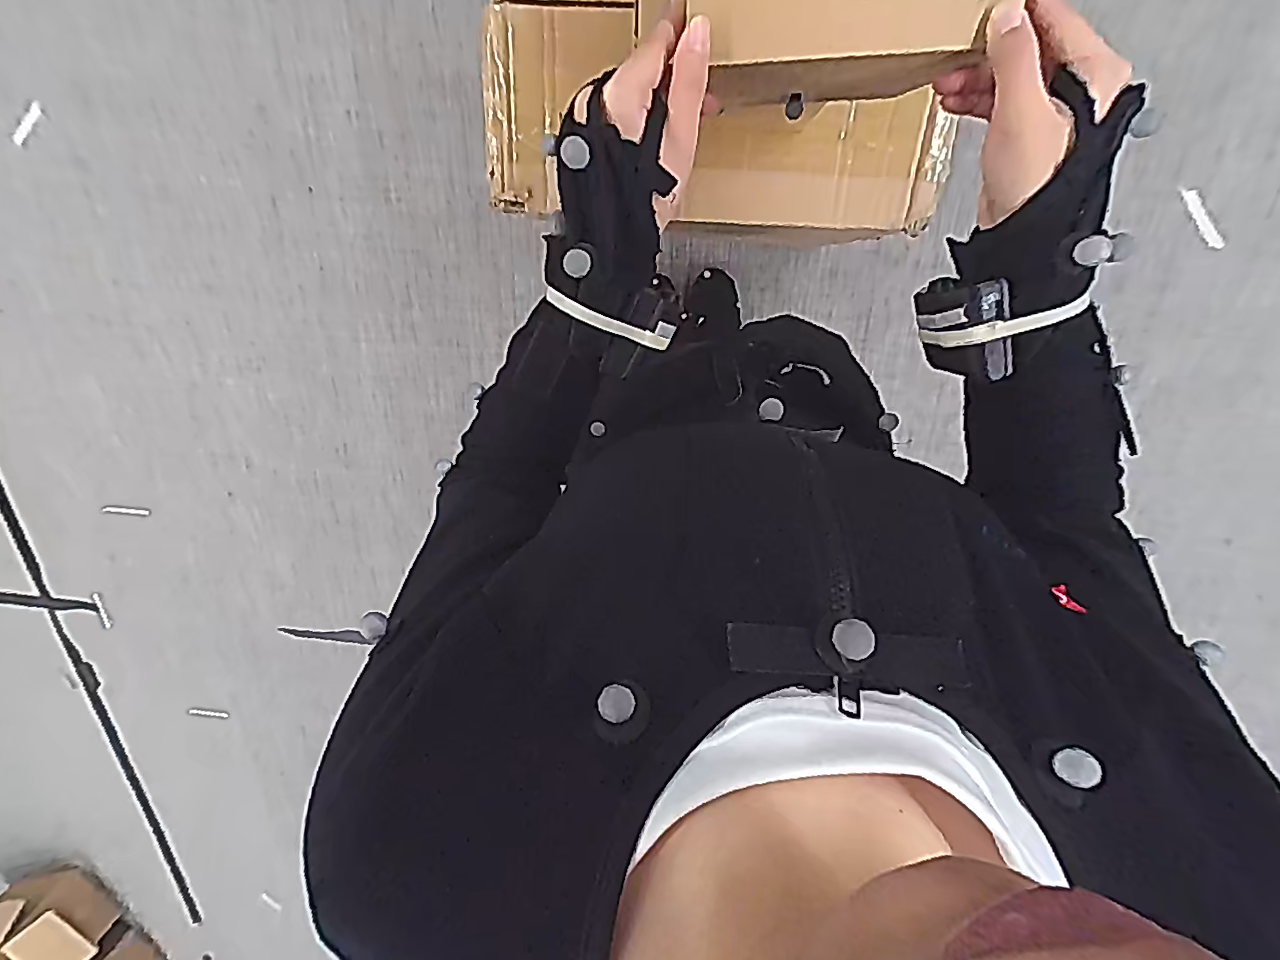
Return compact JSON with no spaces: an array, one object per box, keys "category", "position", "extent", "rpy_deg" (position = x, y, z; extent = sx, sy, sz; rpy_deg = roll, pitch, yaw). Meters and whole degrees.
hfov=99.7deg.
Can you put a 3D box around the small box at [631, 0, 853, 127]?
[{"category":"small box","position":[0.092,-0.439,0.495],"extent":[0.179,0.176,0.168],"rpy_deg":[5,113,4]}]
